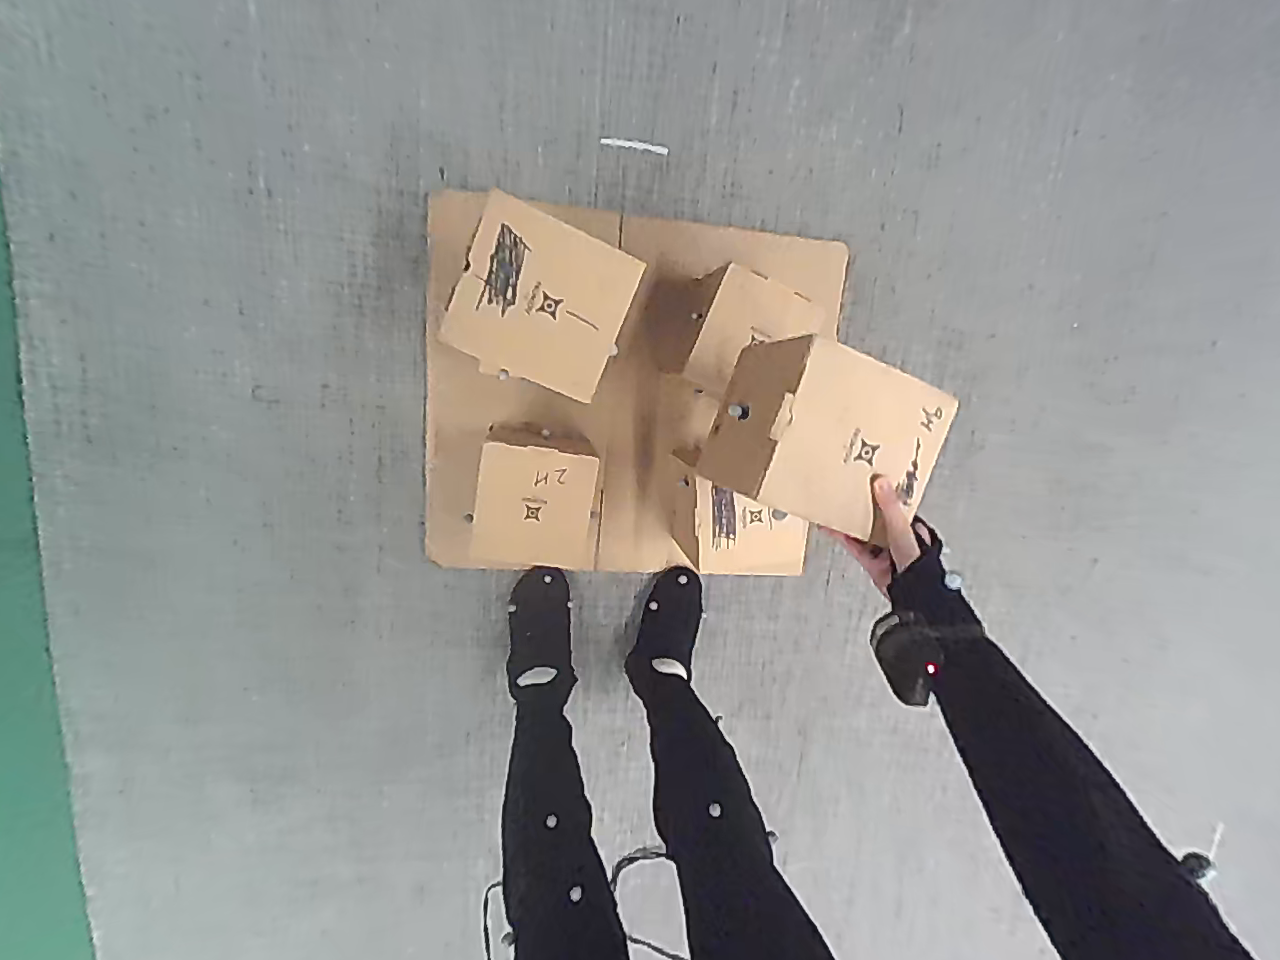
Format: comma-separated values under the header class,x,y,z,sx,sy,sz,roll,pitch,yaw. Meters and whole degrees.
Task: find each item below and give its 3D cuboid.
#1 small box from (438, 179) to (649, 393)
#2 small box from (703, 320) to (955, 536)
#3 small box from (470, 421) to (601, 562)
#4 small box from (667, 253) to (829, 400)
class,x,y,z,sx,sy,sz,roll,pitch,yaw
small box,-0.113,-0.212,0.645,0.179,0.176,0.168,22,97,-13
small box,0.190,-0.056,0.598,0.179,0.176,0.168,19,94,-14
small box,-0.162,0.012,0.852,0.168,0.176,0.179,8,100,-12
small box,0.156,-0.223,0.851,0.168,0.176,0.179,22,97,-12
